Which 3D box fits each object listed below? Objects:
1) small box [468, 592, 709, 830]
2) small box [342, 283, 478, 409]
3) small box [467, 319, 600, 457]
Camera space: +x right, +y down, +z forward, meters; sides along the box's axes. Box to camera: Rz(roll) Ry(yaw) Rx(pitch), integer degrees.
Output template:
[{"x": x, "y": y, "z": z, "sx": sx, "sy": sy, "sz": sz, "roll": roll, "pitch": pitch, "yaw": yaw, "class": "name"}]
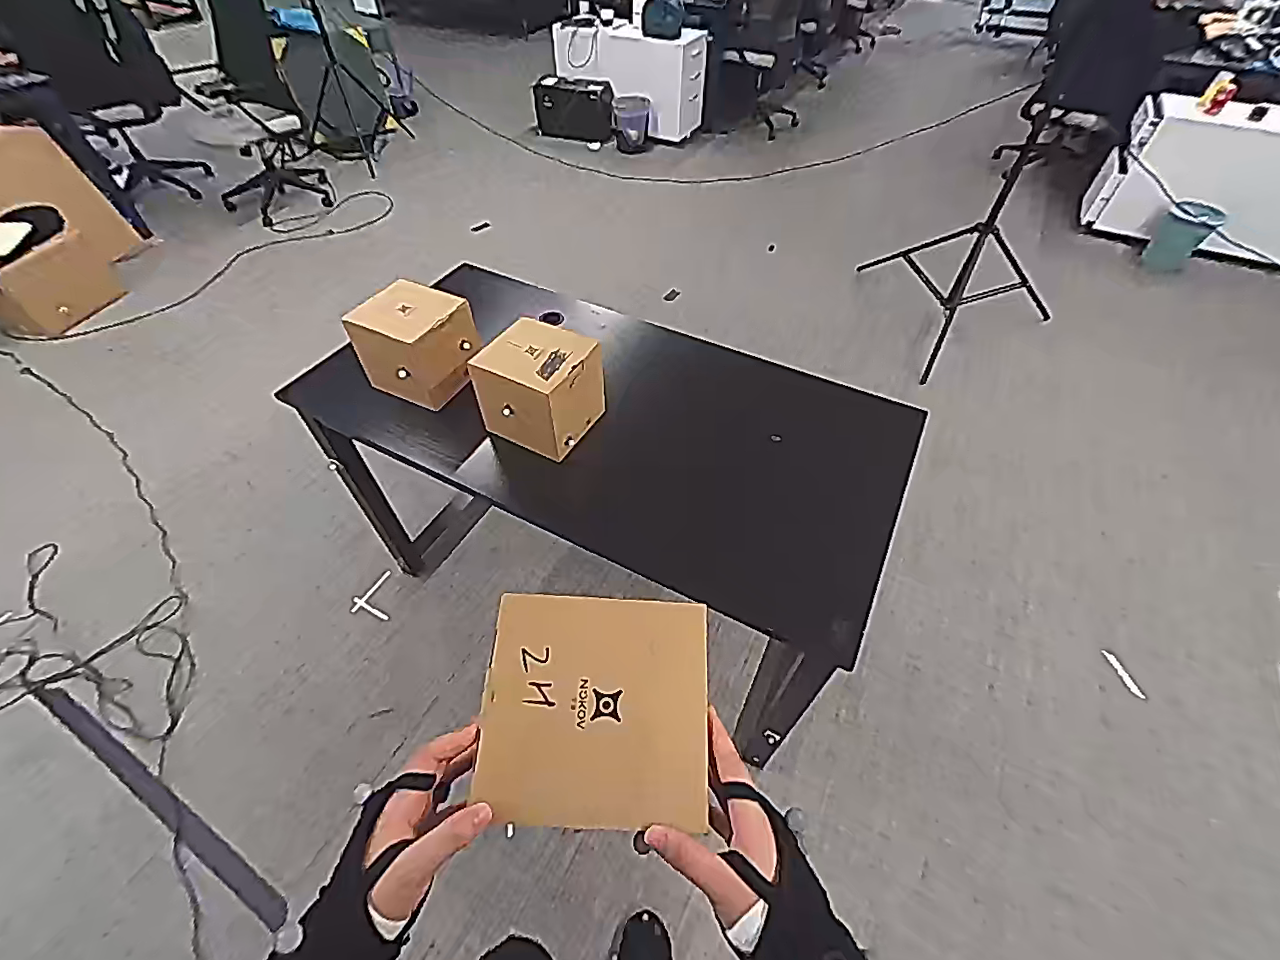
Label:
[{"x": -0.036, "y": 0.209, "z": 0.494, "sx": 0.179, "sy": 0.176, "sz": 0.168, "roll": 3, "pitch": 62, "yaw": 0, "class": "small box"}, {"x": -0.452, "y": -0.269, "z": 1.101, "sx": 0.179, "sy": 0.176, "sz": 0.168, "roll": 20, "pitch": 52, "yaw": 16, "class": "small box"}, {"x": -0.187, "y": -0.168, "z": 1.016, "sx": 0.179, "sy": 0.176, "sz": 0.168, "roll": 23, "pitch": 54, "yaw": 19, "class": "small box"}]
